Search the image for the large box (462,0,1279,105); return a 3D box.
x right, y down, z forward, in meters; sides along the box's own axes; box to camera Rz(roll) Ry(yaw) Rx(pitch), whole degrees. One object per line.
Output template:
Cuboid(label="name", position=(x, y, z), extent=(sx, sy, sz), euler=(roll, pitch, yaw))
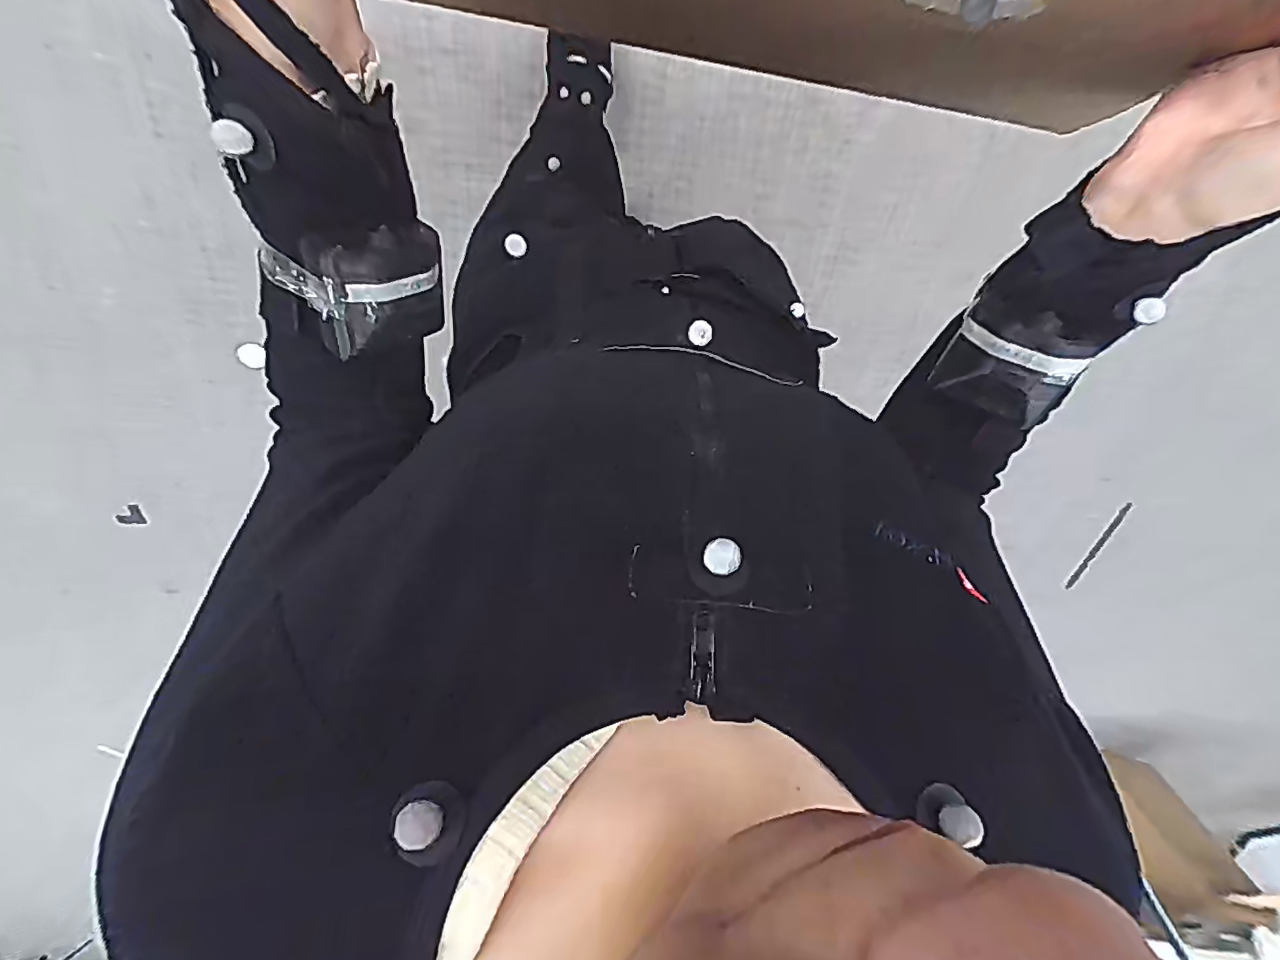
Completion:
Cuboid(label="large box", position=(0.084, -0.351, 0.123), extent=(0.408, 0.320, 0.320), euler=(5, 105, -7))
